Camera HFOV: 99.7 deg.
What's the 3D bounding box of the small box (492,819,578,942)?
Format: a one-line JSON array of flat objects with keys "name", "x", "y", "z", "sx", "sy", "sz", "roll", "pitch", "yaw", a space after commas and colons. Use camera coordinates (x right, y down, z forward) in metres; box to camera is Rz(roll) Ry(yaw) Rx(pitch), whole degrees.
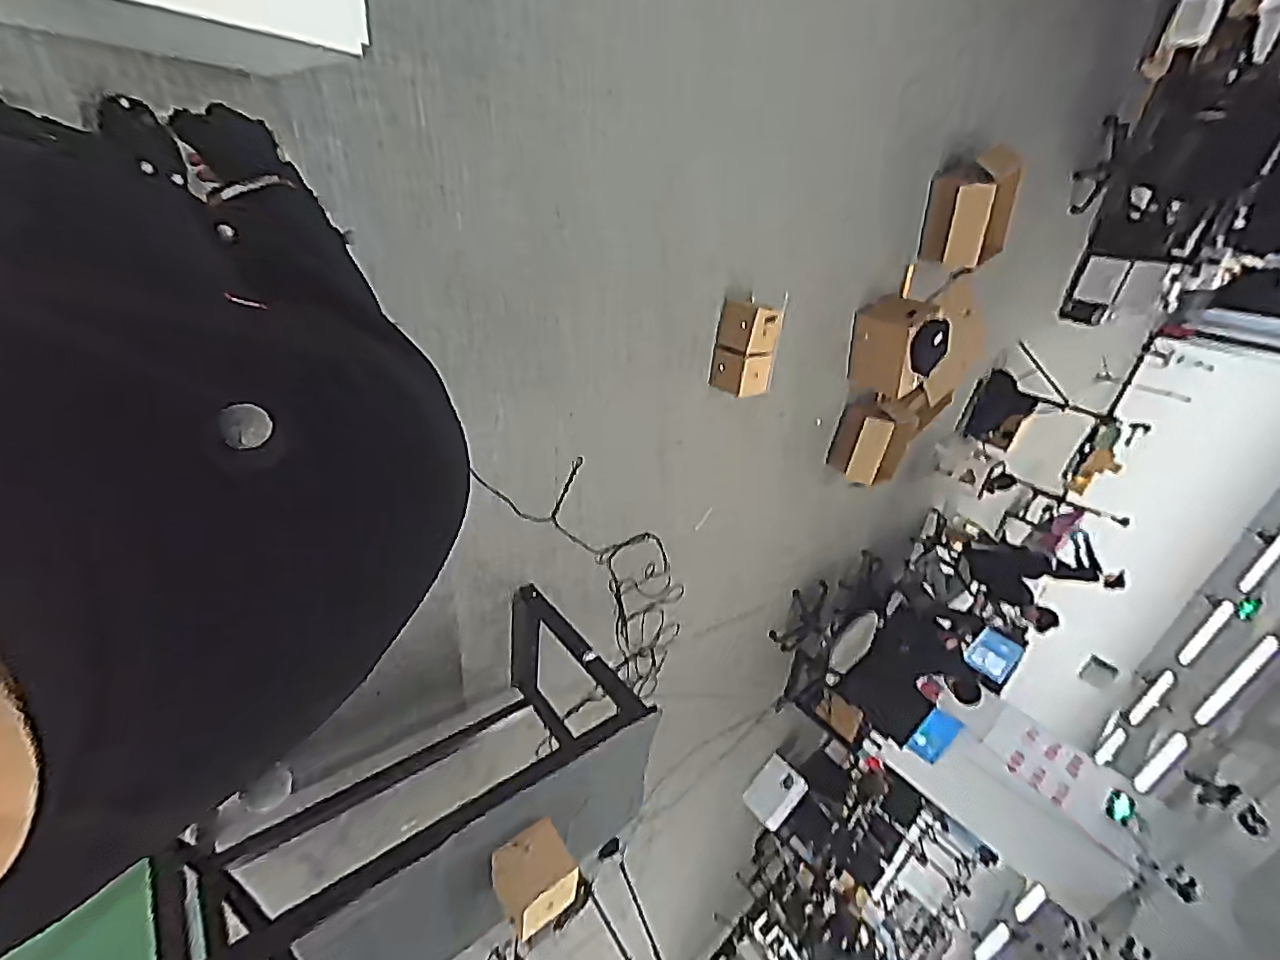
[{"name": "small box", "x": -0.288, "y": 1.071, "z": 1.459, "sx": 0.168, "sy": 0.176, "sz": 0.179, "roll": -16, "pitch": 126, "yaw": -38}]
